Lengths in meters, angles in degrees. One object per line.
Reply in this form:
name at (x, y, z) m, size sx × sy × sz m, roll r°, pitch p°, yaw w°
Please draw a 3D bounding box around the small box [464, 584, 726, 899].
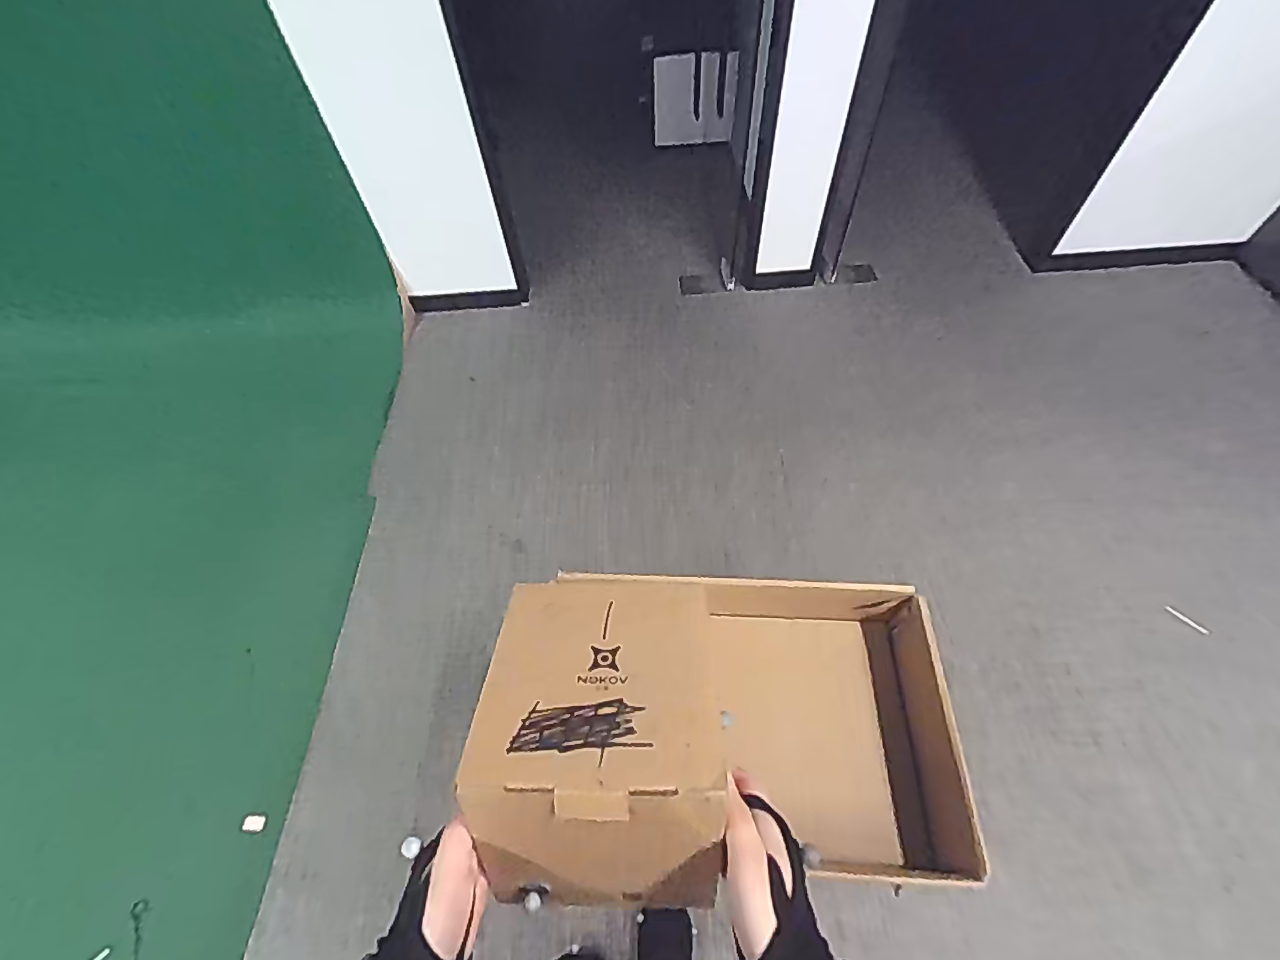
small box at (-0.024, 0.206, 0.439) m, size 0.168 × 0.176 × 0.179 m, roll 1°, pitch 32°, yaw 1°
